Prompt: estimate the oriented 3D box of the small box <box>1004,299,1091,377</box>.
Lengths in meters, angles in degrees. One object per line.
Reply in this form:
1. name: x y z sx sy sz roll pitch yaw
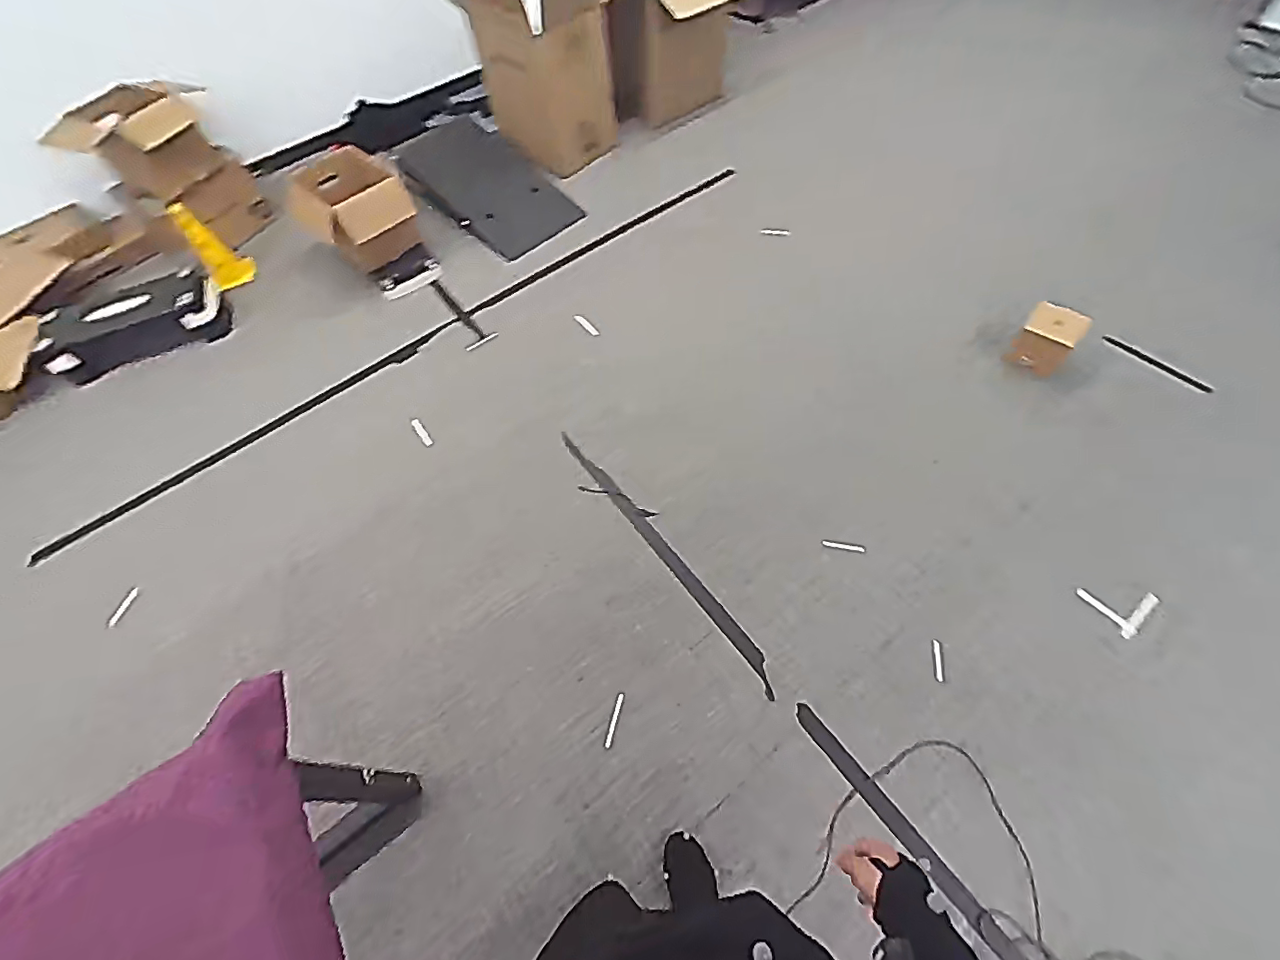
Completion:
1. small box: 1.450 -0.507 1.935 0.168 0.176 0.179 35 68 24
